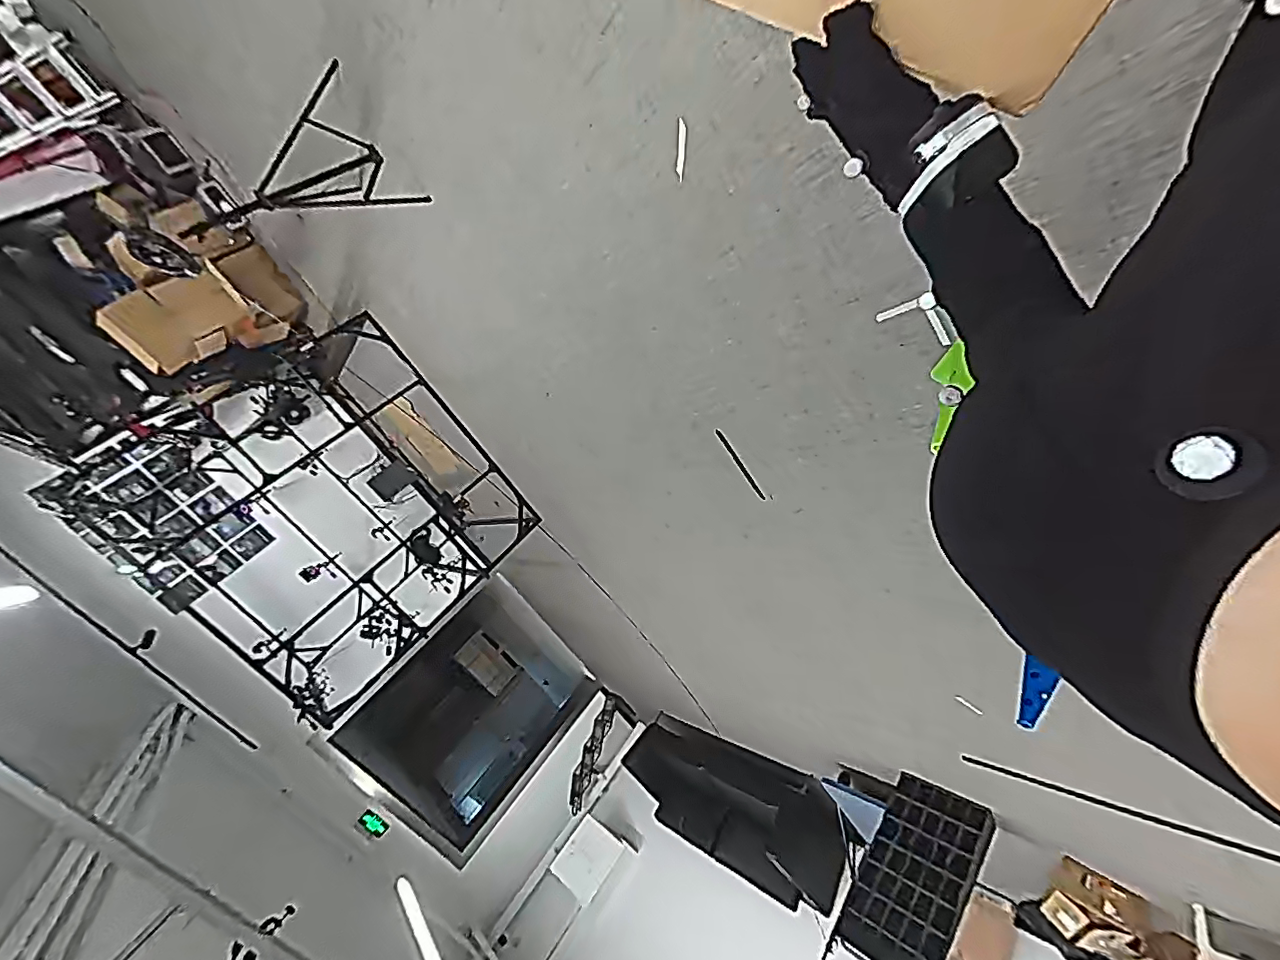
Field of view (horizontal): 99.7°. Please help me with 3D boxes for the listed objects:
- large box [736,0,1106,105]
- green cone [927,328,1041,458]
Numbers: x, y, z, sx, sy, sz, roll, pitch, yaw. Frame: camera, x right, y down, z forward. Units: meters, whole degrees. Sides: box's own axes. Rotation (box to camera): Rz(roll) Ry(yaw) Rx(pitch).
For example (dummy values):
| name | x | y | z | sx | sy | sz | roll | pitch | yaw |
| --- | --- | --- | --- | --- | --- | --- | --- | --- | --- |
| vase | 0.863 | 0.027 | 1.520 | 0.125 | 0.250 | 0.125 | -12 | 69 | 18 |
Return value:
| name | x | y | z | sx | sy | sz | roll | pitch | yaw |
| --- | --- | --- | --- | --- | --- | --- | --- | --- | --- |
| large box | 0.251 | -0.555 | 0.343 | 0.320 | 0.320 | 0.408 | 27 | 145 | 6 |
| green cone | 0.814 | -0.185 | 1.371 | 0.200 | 0.368 | 0.202 | 36 | 152 | 15 |
